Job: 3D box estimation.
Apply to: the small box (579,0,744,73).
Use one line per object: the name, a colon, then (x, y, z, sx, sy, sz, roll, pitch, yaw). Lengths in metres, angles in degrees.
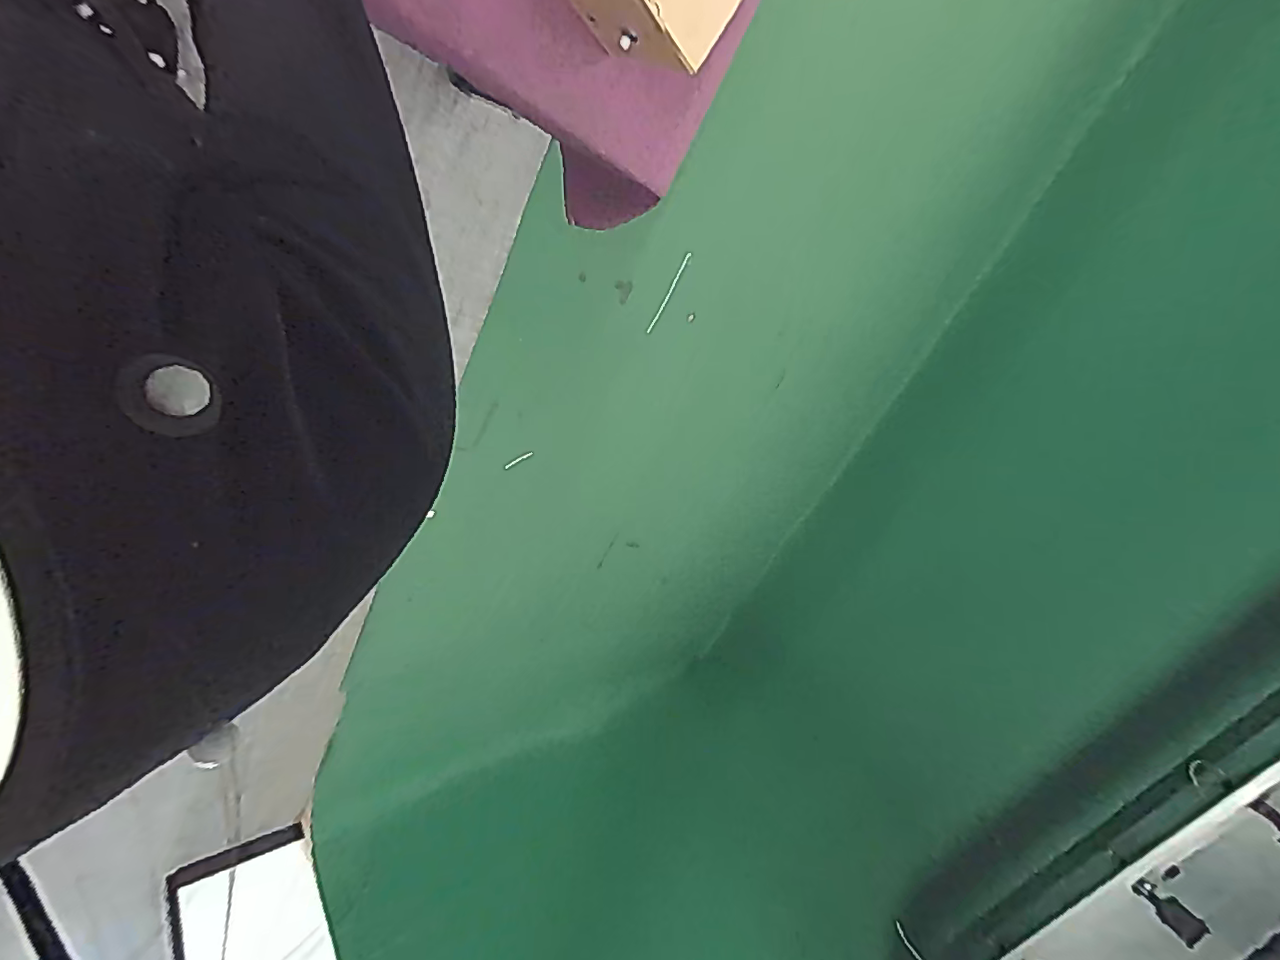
small box: (0.016, -0.575, 0.558, 0.168, 0.176, 0.179, 19, 110, -53)
